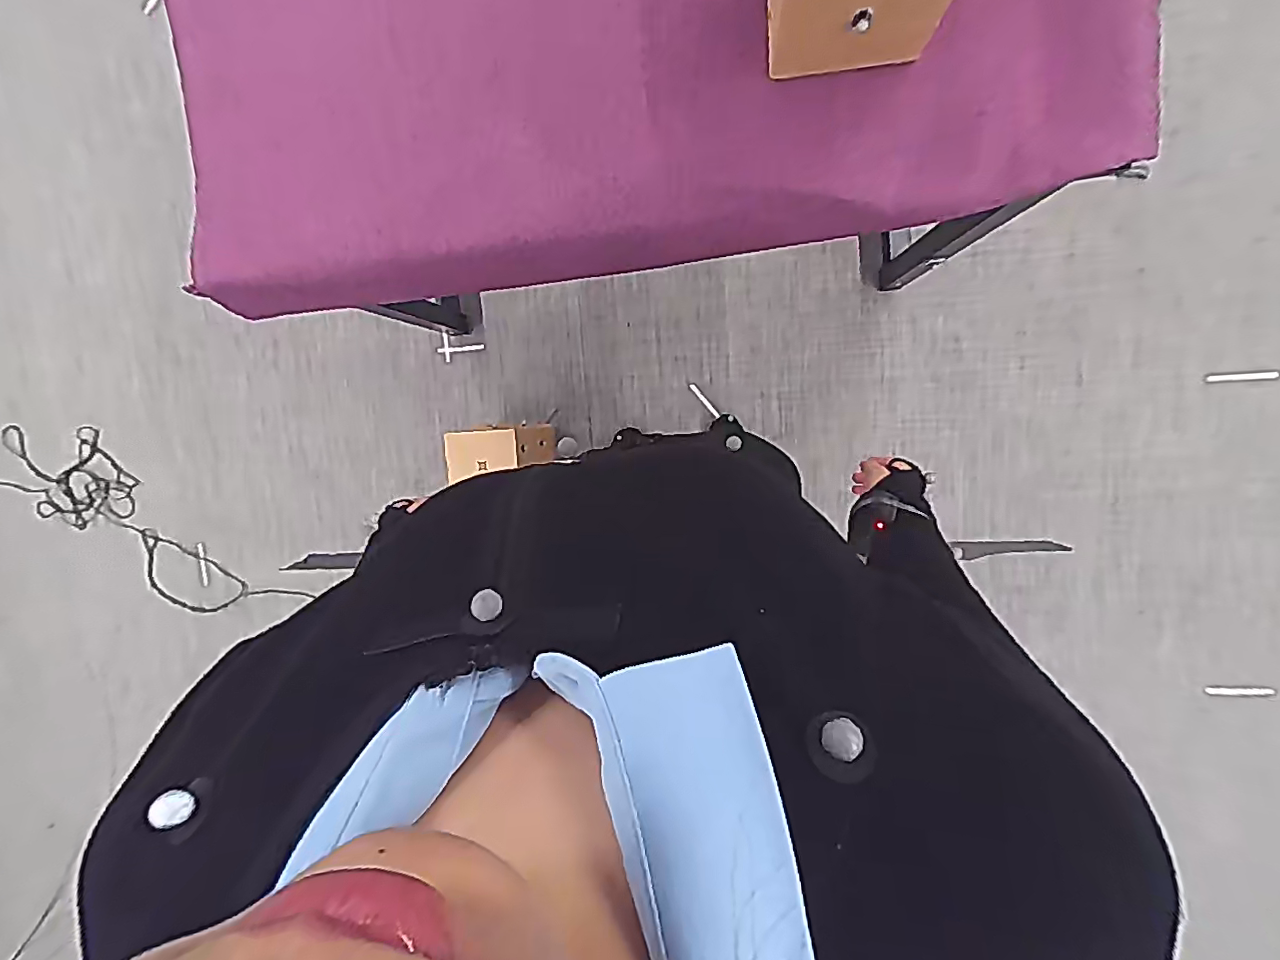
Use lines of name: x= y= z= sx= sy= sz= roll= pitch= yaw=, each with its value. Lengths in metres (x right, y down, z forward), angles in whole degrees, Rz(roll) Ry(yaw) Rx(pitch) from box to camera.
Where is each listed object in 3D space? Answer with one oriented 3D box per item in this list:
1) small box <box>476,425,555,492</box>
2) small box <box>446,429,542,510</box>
small box: x=-0.328 y=-0.054 z=1.444 sx=0.168 sy=0.176 sz=0.179 roll=3 pitch=97 yaw=6
small box: x=-0.339 y=-0.030 z=1.281 sx=0.168 sy=0.176 sz=0.179 roll=-3 pitch=97 yaw=7
